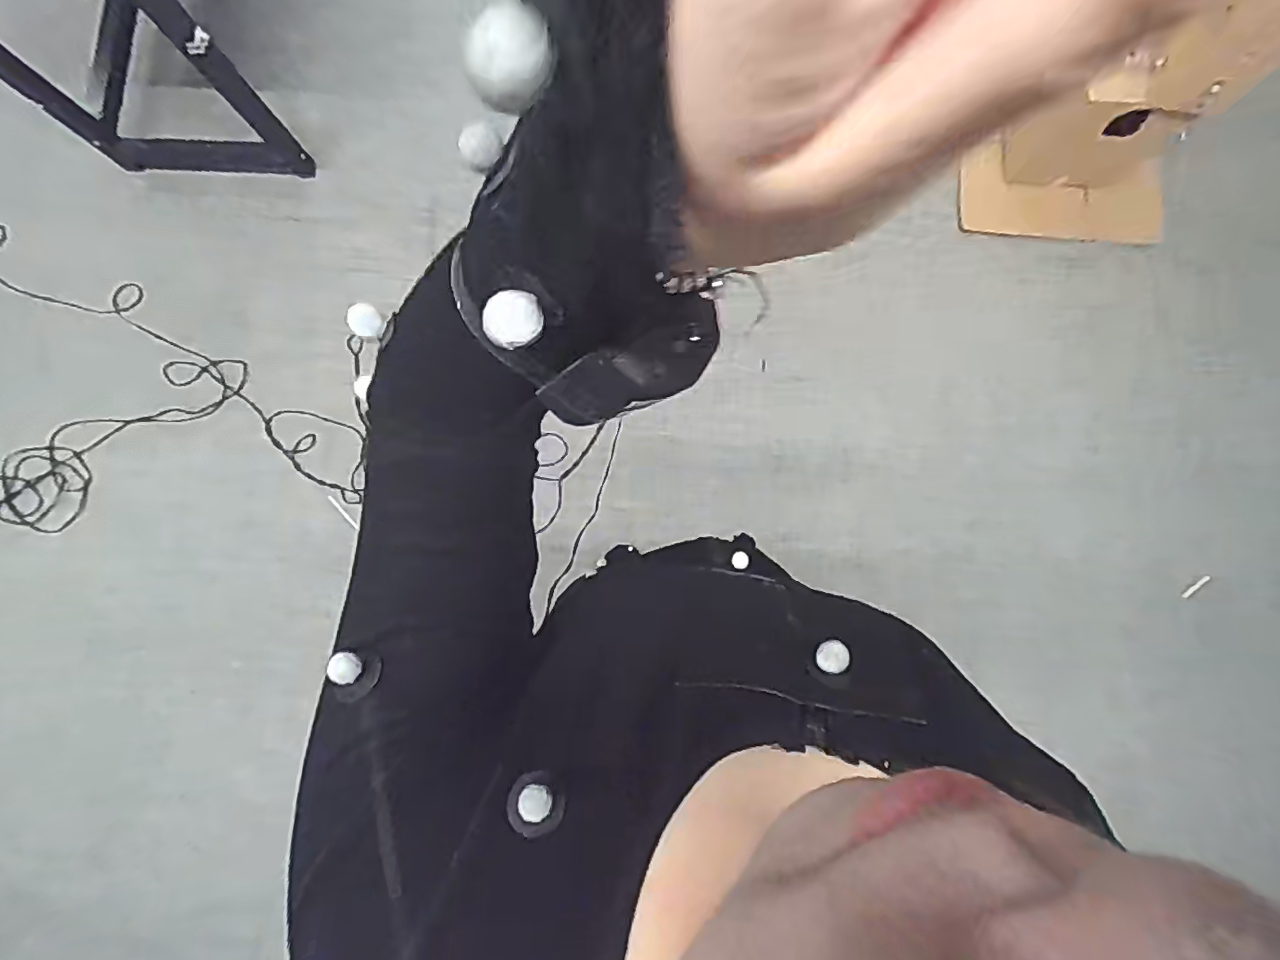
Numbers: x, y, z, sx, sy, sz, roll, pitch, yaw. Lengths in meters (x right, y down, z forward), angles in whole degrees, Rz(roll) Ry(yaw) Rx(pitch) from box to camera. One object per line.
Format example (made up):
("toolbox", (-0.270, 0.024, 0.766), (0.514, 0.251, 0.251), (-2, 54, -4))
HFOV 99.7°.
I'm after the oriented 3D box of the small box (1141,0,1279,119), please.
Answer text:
("small box", (1.326, -0.986, 1.263), (0.168, 0.176, 0.179), (6, 81, 0))
